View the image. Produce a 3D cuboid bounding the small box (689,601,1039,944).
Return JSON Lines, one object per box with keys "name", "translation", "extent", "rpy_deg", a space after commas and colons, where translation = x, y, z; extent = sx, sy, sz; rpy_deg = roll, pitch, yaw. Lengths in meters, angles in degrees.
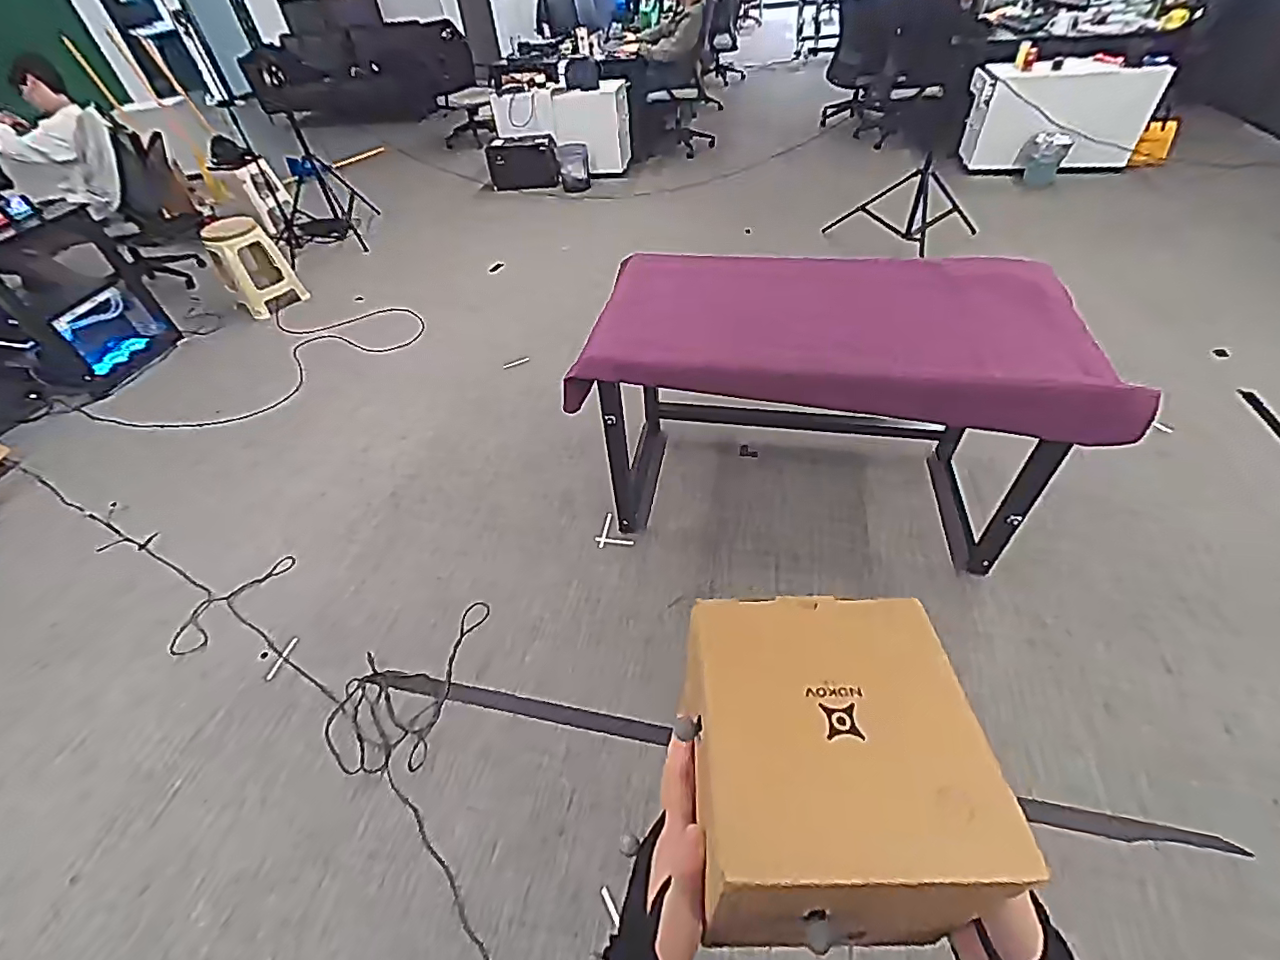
{"name": "small box", "translation": [0.125, 0.209, 0.390], "extent": [0.168, 0.176, 0.179], "rpy_deg": [-1, 40, 0]}
